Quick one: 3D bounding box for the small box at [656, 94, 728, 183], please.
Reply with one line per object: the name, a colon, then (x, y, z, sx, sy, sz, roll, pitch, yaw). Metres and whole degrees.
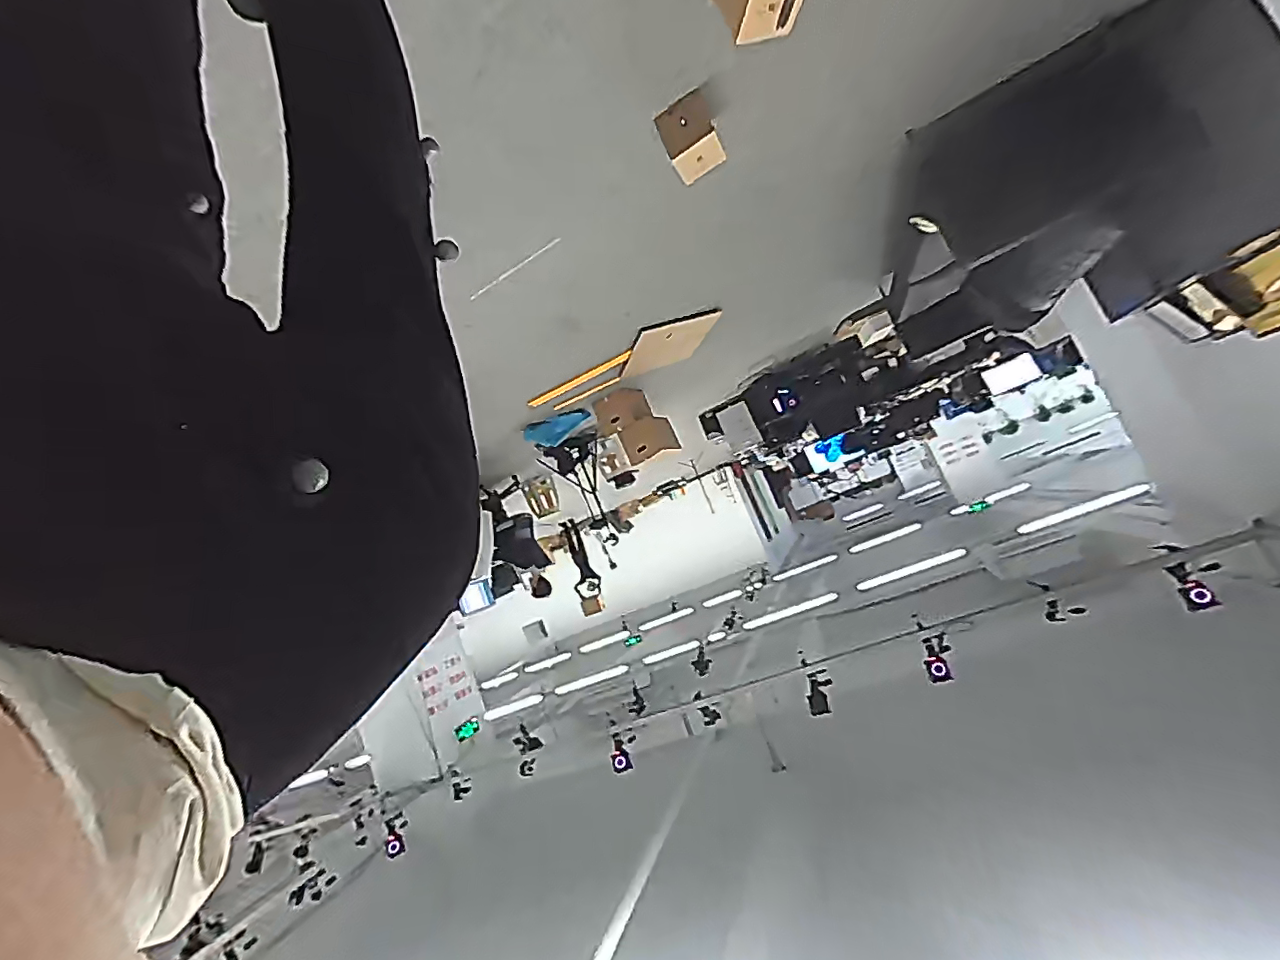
small box: (0.178, -1.179, 1.860, 0.168, 0.176, 0.179, -25, 172, 21)
